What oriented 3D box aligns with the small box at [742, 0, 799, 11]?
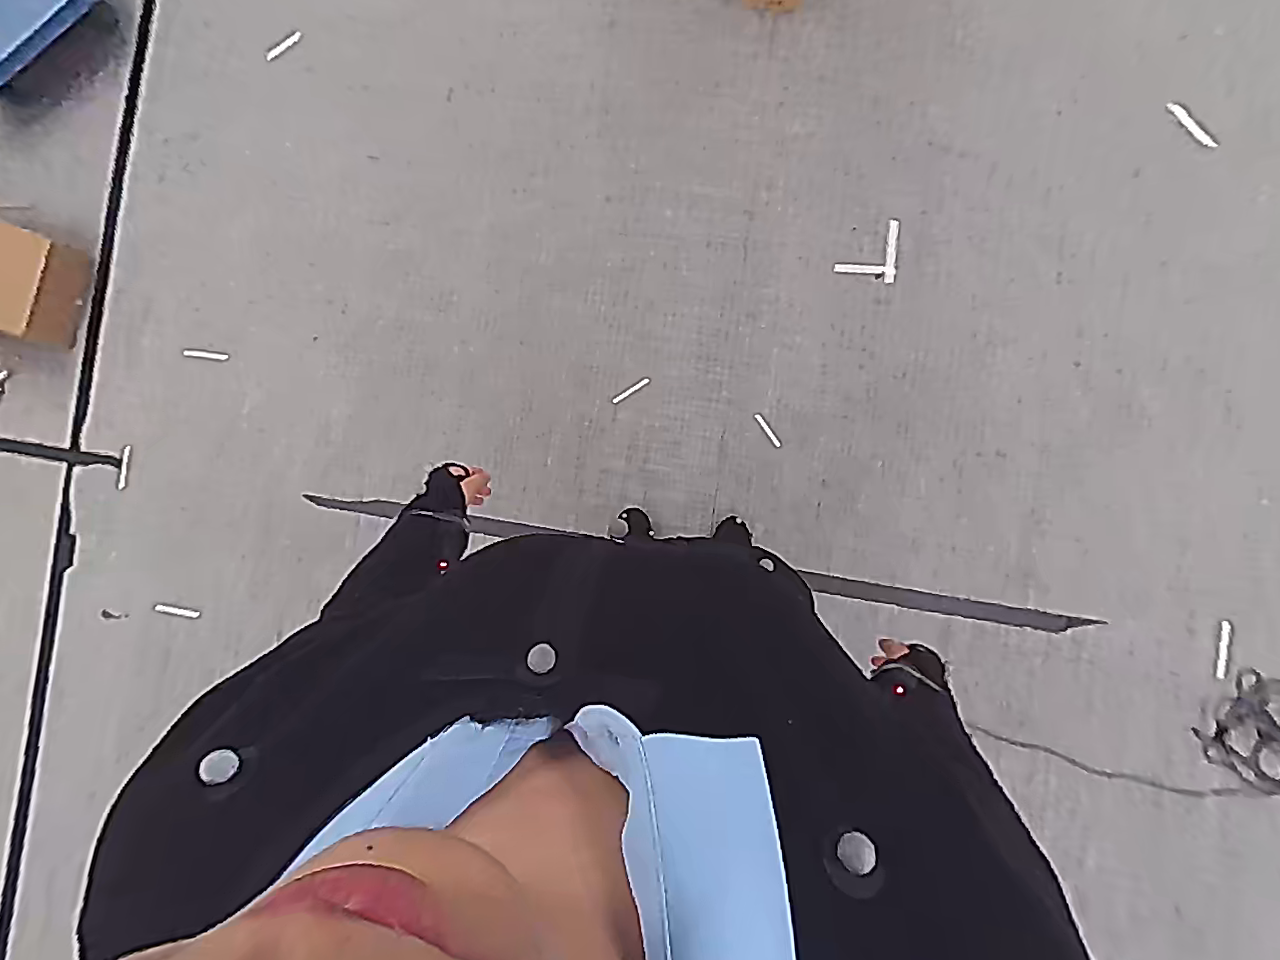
[{"bbox_3d":[0.368,-1.417,1.455,0.168,0.176,0.179,10,88,7],"label":"small box"}]
